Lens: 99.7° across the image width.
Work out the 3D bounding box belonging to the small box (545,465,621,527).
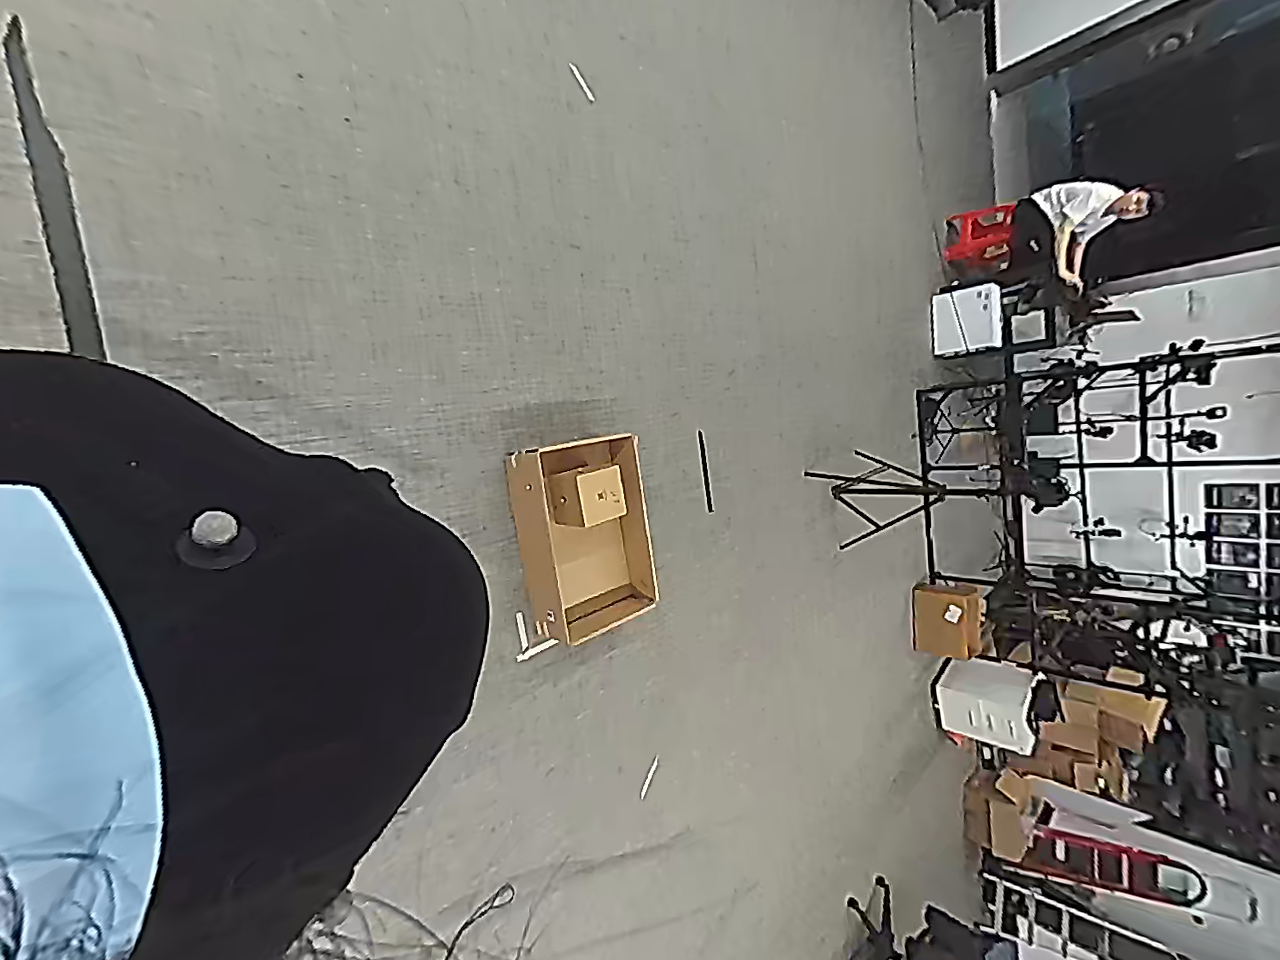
[{"bbox_3d":[-0.191,0.048,1.757,0.179,0.176,0.168,-17,102,-42],"label":"small box"}]
